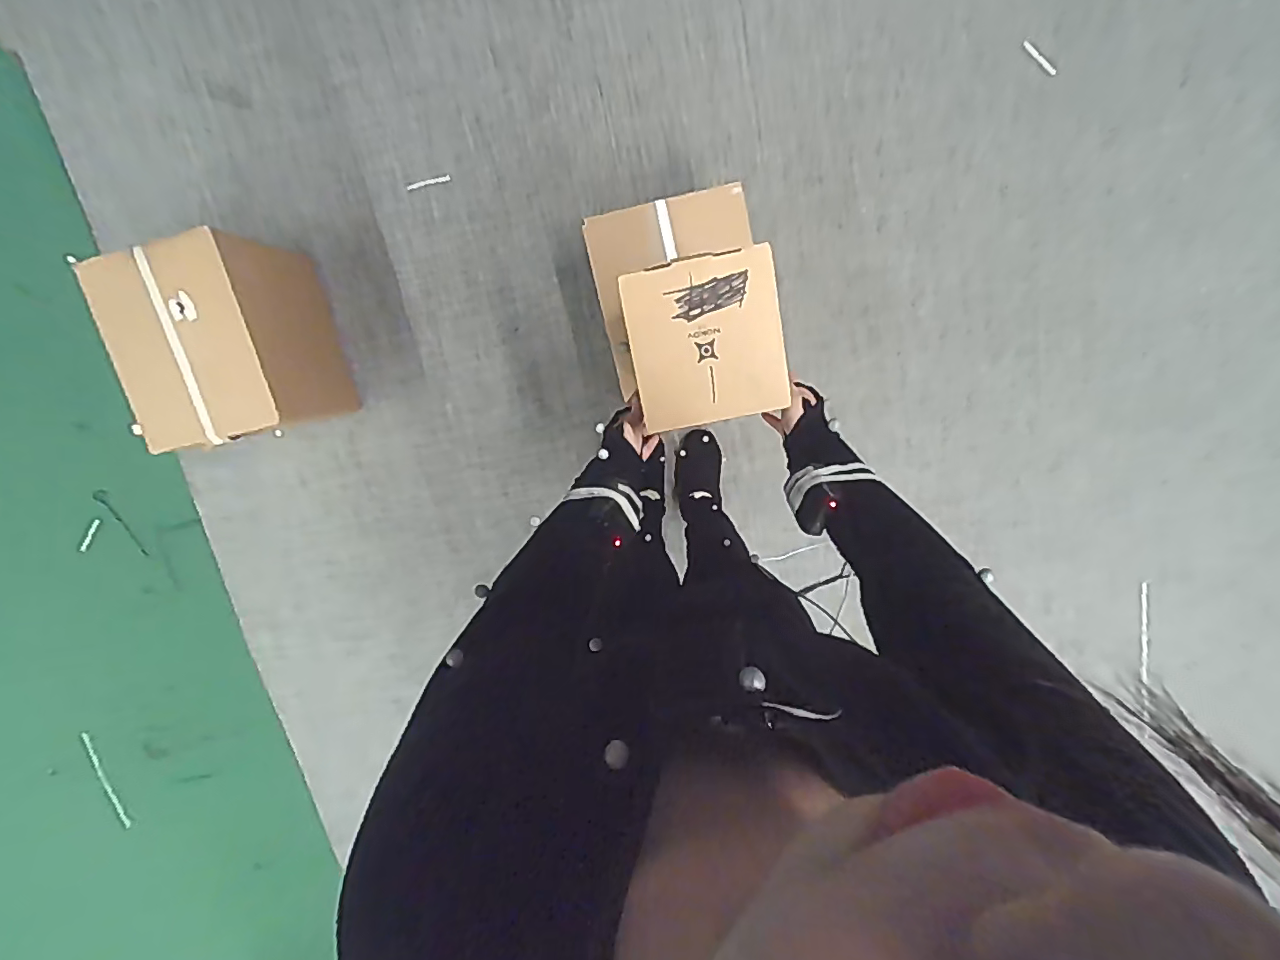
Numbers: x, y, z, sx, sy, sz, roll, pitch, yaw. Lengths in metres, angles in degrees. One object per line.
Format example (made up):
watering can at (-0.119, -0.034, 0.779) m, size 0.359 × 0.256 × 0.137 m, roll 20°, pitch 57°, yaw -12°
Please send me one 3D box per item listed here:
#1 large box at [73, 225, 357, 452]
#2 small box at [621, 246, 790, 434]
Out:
large box at (-0.939, -0.310, 1.253) m, size 0.320 × 0.320 × 0.408 m, roll -12°, pitch 101°, yaw 5°
small box at (0.074, -0.166, 0.662) m, size 0.168 × 0.176 × 0.179 m, roll -10°, pitch 104°, yaw 5°
